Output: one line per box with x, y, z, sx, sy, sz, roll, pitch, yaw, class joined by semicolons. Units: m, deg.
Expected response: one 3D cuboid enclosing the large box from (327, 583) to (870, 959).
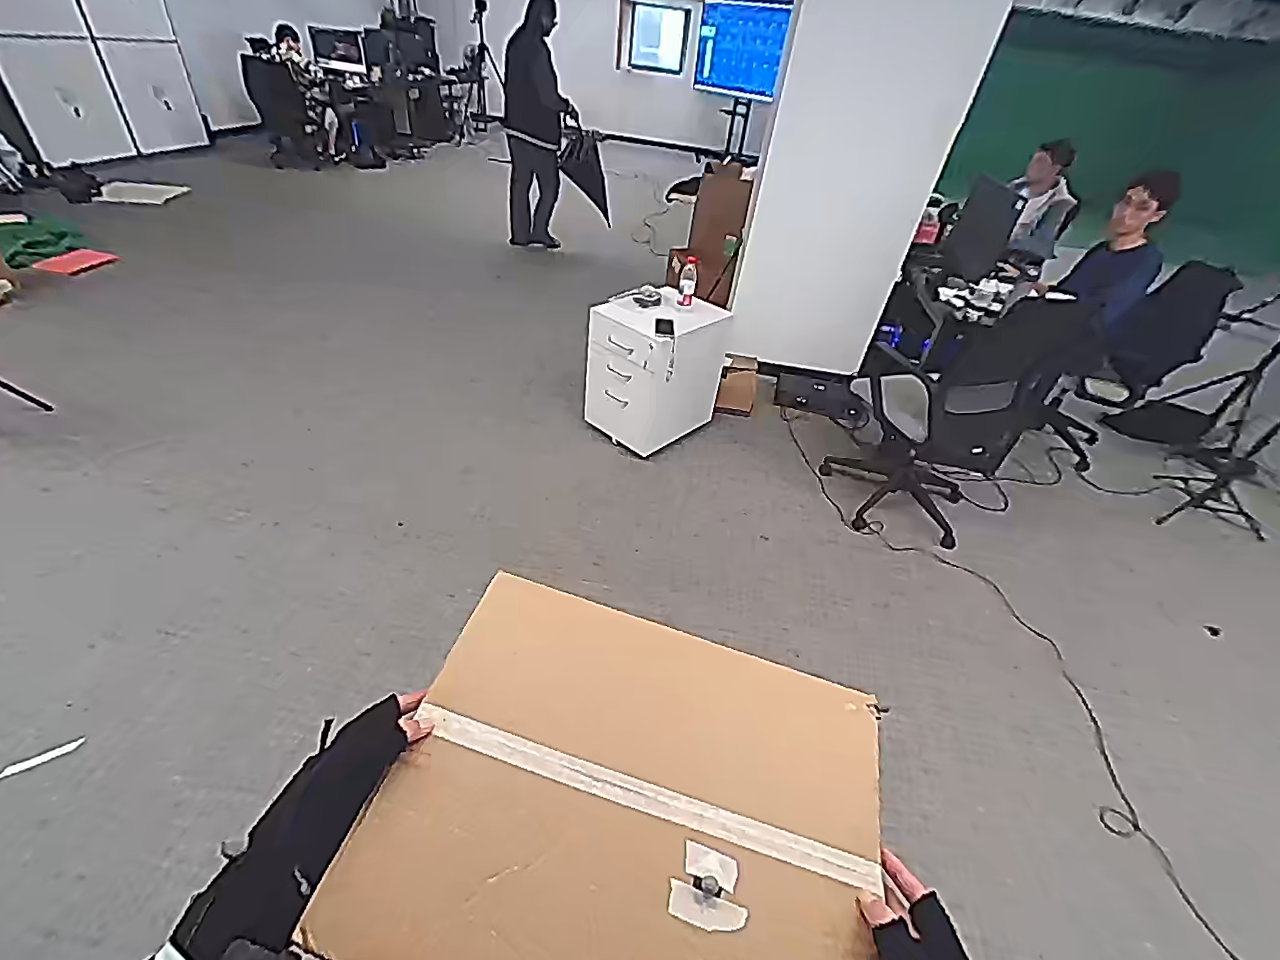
-0.021;0.368;0.575;0.408;0.320;0.320;18;47;4;large box
